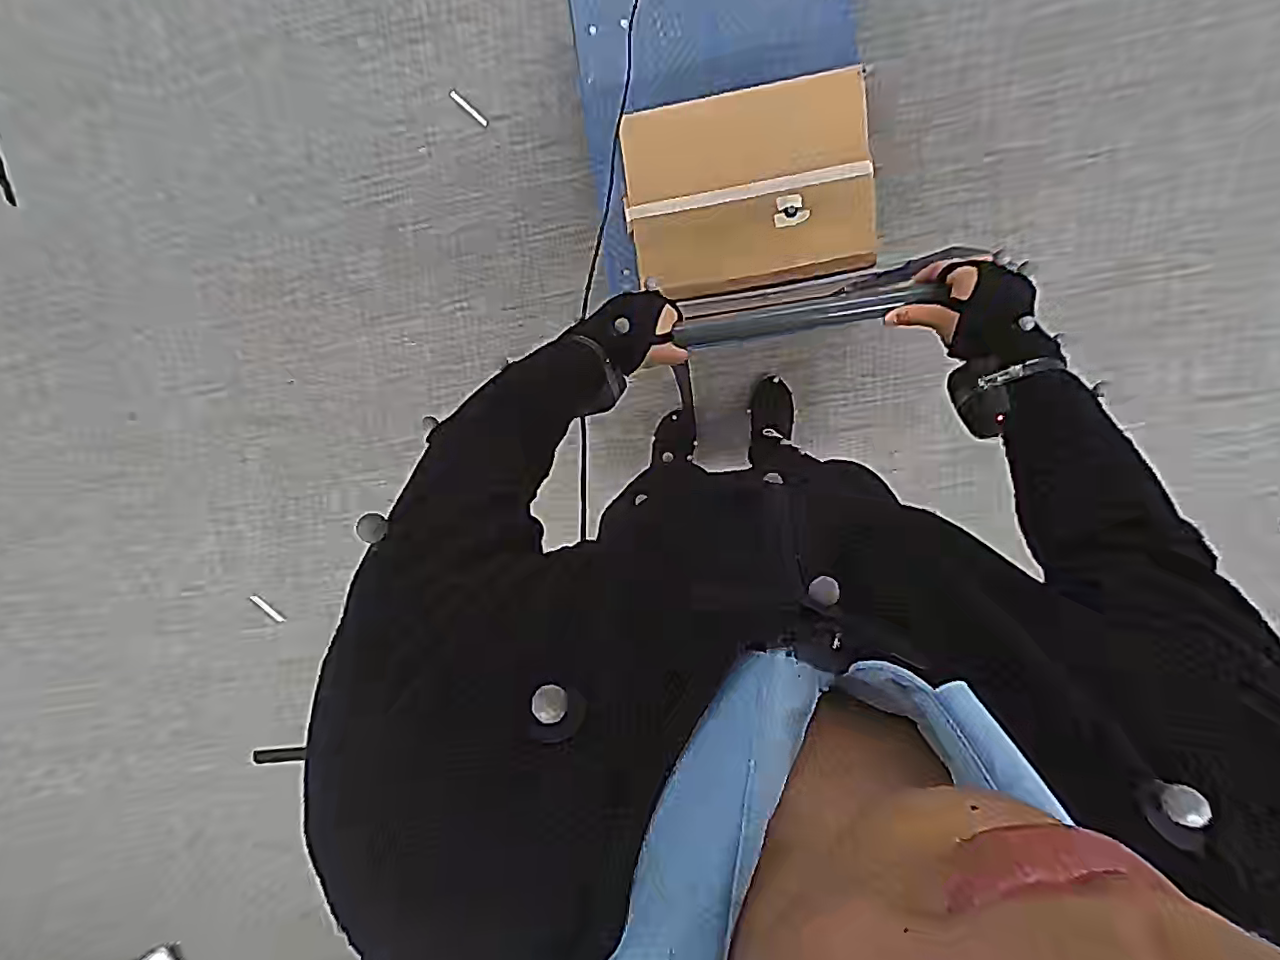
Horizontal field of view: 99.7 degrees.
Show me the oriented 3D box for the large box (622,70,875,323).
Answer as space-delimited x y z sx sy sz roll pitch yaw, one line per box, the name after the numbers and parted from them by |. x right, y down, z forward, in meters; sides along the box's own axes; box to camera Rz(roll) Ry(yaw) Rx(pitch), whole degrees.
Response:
0.199 -0.518 1.075 0.408 0.320 0.320 -8 100 7 | large box
